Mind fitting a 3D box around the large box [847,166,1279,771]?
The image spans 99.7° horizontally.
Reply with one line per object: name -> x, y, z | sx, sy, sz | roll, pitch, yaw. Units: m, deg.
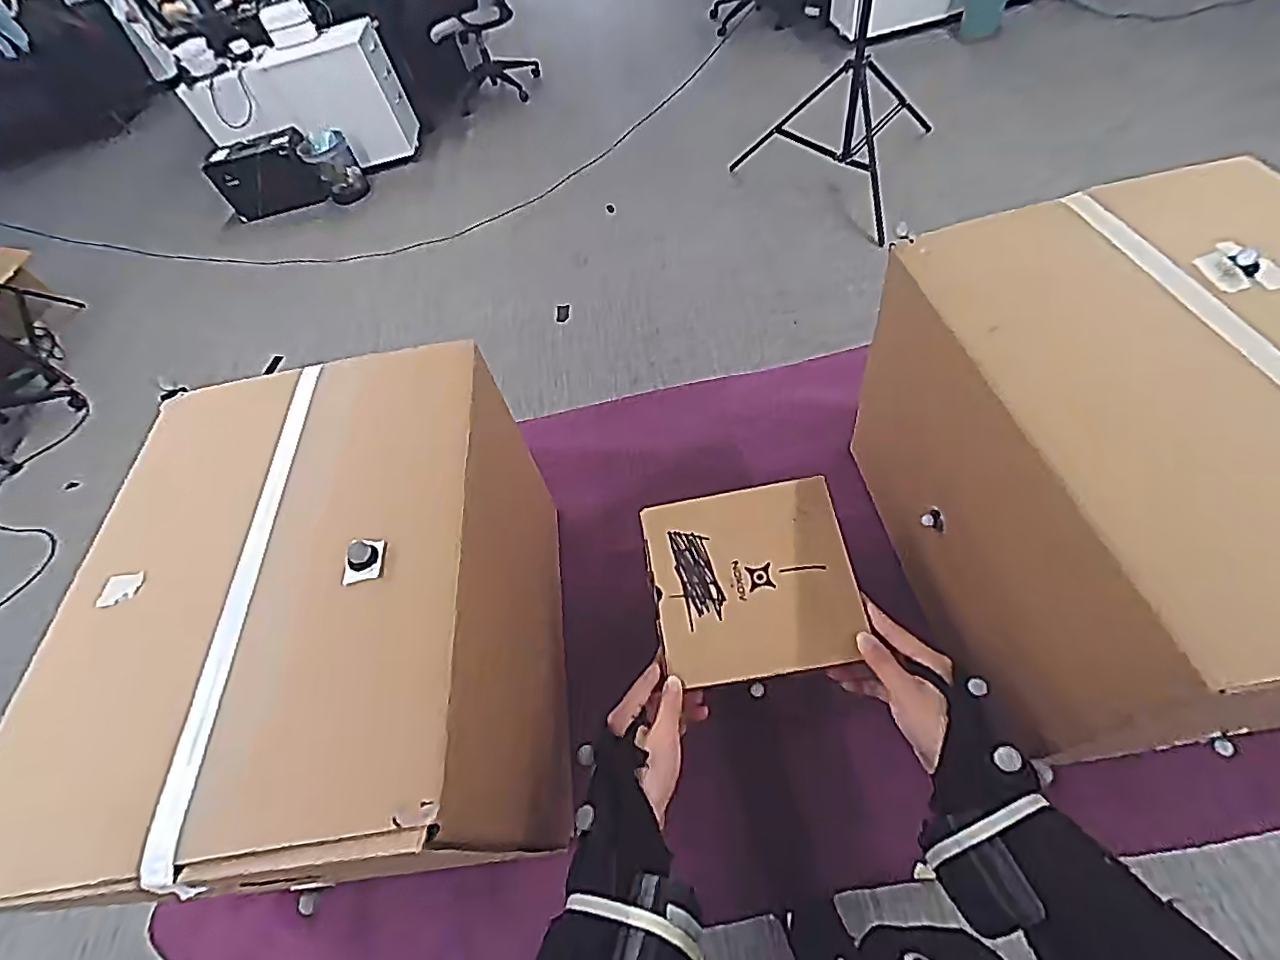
large box -> 0.425, -0.004, 0.490 | 0.320, 0.320, 0.408 | -12, 53, 3
